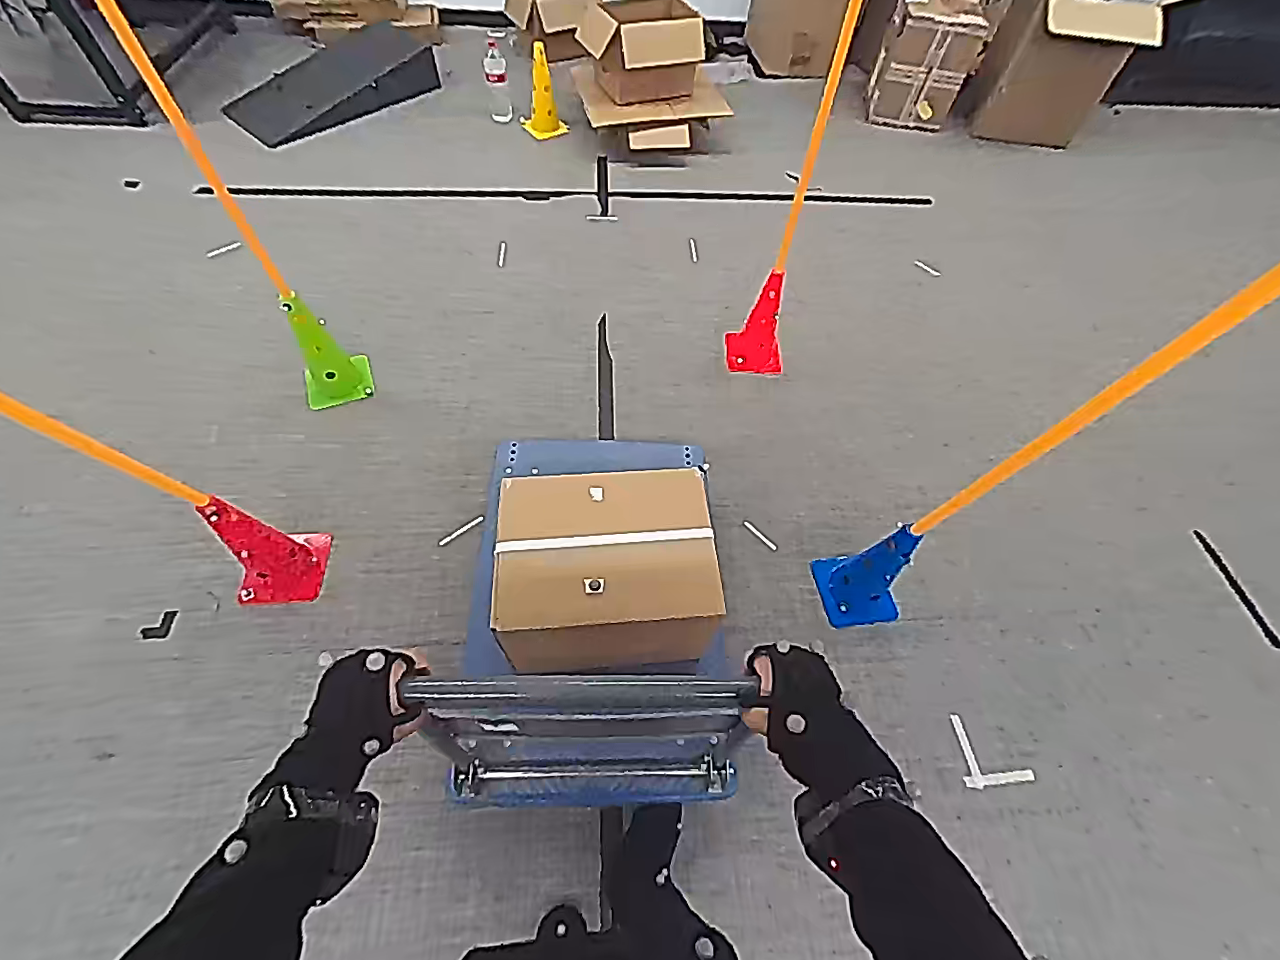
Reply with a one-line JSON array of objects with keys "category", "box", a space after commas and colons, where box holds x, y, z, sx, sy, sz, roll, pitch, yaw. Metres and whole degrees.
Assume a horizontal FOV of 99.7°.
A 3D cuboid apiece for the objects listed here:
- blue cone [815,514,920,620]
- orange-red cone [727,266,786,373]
[{"category": "blue cone", "box": [0.608, 0.203, 1.369, 0.193, 0.380, 0.192, -4, 57, -7]}, {"category": "orange-red cone", "box": [0.428, -0.562, 1.830, 0.199, 0.360, 0.198, 5, 58, -2]}]
